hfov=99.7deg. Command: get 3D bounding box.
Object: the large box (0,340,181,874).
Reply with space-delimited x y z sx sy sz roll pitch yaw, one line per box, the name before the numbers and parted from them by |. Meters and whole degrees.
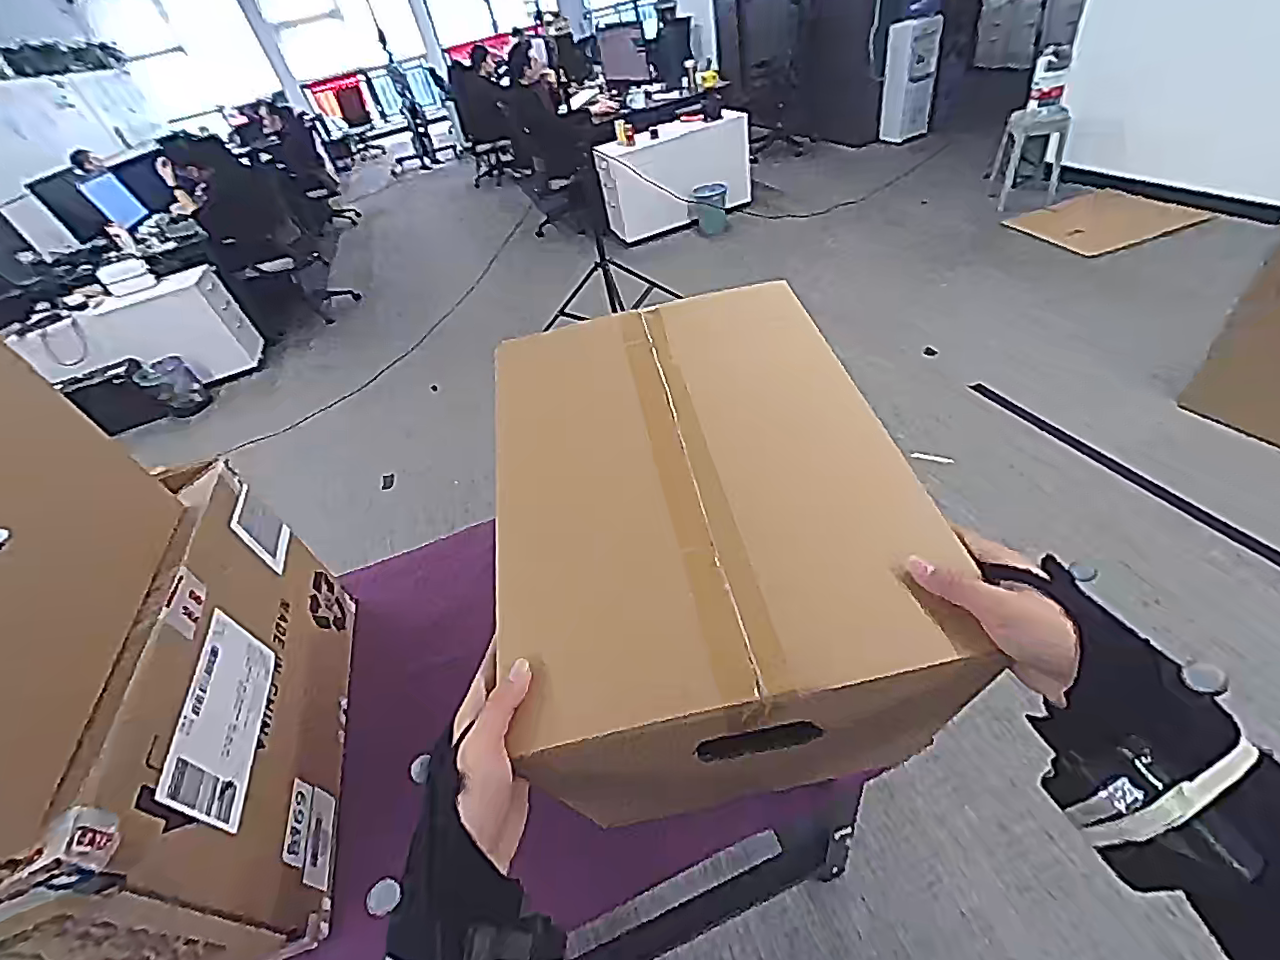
large box | -0.651 0.096 0.402 0.320 0.320 0.408 -23 43 -7
